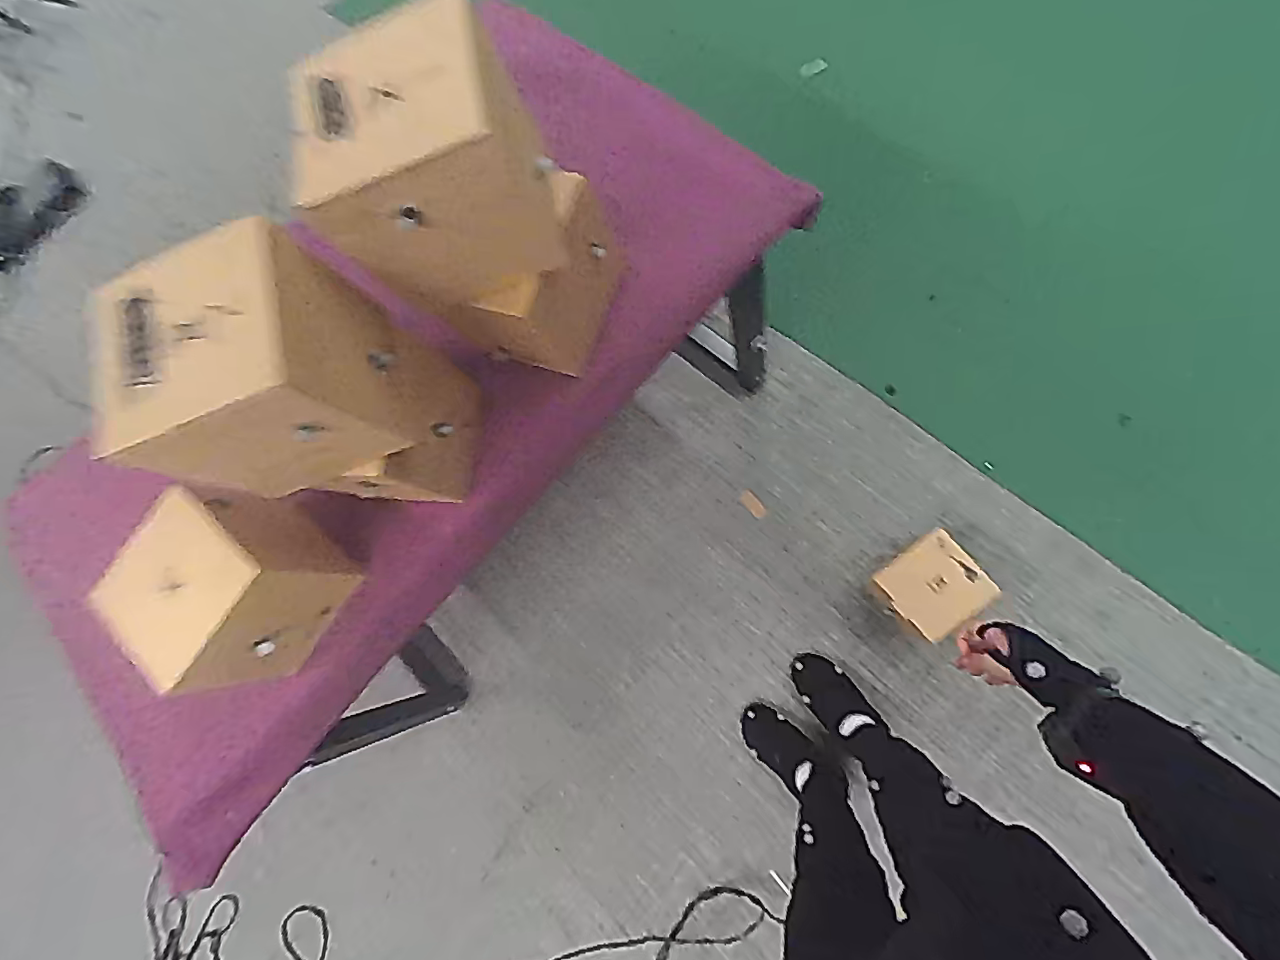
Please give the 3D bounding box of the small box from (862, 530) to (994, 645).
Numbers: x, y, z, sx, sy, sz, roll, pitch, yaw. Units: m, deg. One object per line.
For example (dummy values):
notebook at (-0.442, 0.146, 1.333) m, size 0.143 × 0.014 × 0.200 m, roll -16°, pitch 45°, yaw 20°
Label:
small box at (0.601, 0.231, 1.162) m, size 0.179 × 0.176 × 0.168 m, roll -38°, pitch 74°, yaw 3°

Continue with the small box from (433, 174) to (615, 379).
small box at (-0.146, -0.251, 0.670) m, size 0.168 × 0.176 × 0.179 m, roll 19°, pitch 83°, yaw 18°

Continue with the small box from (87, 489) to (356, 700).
small box at (-0.500, 0.135, 0.670) m, size 0.179 × 0.176 × 0.168 m, roll 34°, pitch 87°, yaw 19°

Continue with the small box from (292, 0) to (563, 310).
small box at (-0.194, -0.292, 0.519) m, size 0.179 × 0.176 × 0.168 m, roll -15°, pitch 74°, yaw 10°

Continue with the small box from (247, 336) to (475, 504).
small box at (-0.329, -0.066, 0.671) m, size 0.179 × 0.176 × 0.168 m, roll 2°, pitch 78°, yaw 14°
